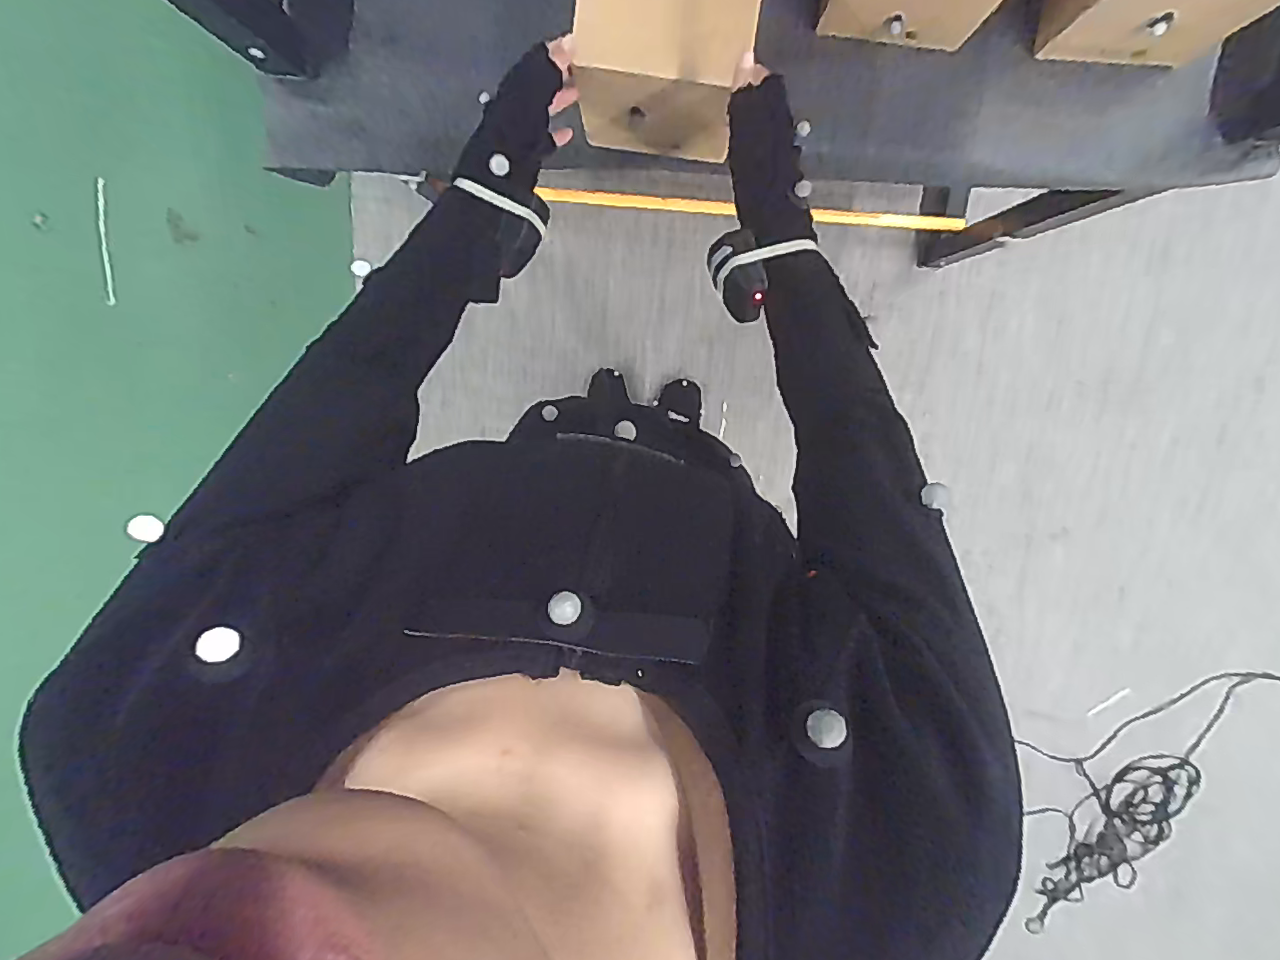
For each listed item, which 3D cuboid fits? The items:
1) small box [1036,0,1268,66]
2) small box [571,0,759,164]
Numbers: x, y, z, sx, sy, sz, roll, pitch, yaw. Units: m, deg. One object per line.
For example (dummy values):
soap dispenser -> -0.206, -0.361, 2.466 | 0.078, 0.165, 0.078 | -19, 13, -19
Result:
small box -> 0.534, -0.546, 0.530 | 0.168, 0.176, 0.179 | 4, 101, 1
small box -> 0.030, -0.460, 0.563 | 0.168, 0.176, 0.179 | 8, 98, -1
